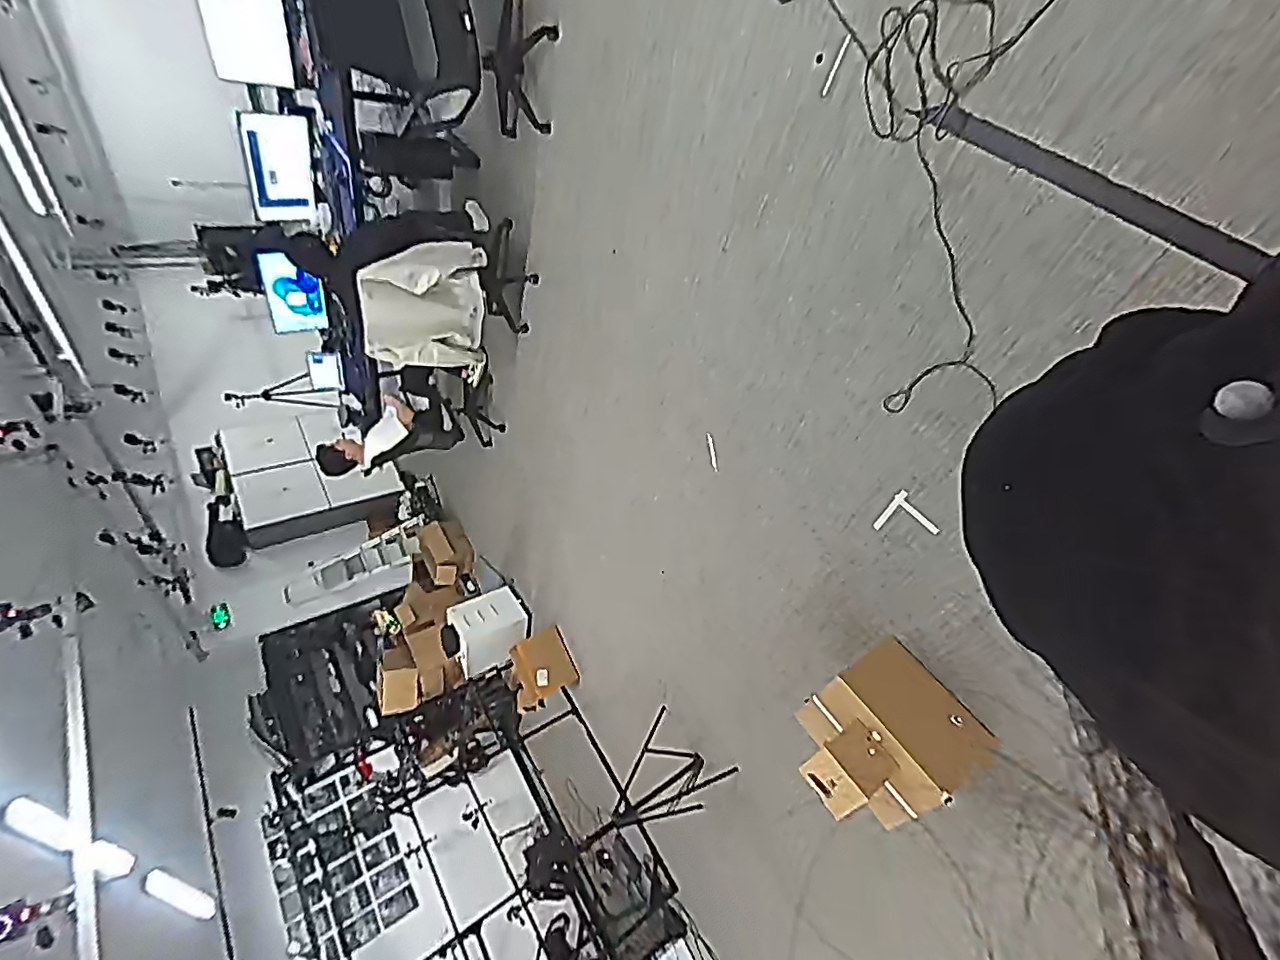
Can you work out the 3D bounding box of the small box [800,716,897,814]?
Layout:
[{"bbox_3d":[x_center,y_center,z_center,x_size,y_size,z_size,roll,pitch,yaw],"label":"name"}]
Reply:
[{"bbox_3d":[0.616,0.837,1.593,0.168,0.176,0.179,49,140,30],"label":"small box"}]
